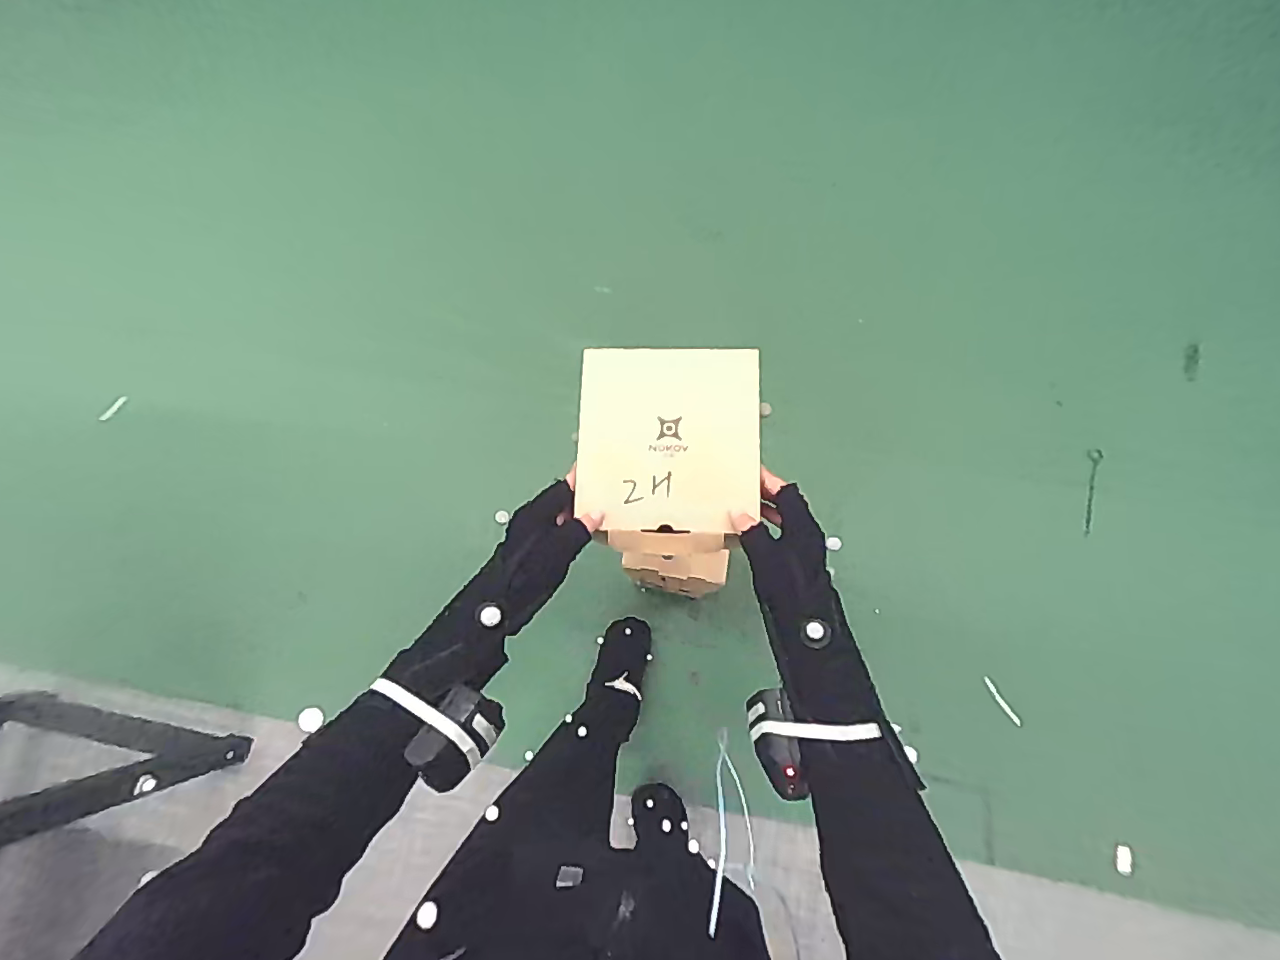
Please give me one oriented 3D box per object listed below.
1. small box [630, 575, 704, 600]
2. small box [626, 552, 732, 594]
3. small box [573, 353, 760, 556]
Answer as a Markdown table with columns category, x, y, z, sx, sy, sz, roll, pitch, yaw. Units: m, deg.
| category | x | y | z | sx | sy | sz | roll | pitch | yaw |
| --- | --- | --- | --- | --- | --- | --- | --- | --- | --- |
| small box | 0.080 | 0.179 | 1.260 | 0.168 | 0.176 | 0.179 | 12 | 76 | 5 |
| small box | 0.072 | 0.095 | 0.943 | 0.168 | 0.176 | 0.179 | 9 | 76 | 4 |
| small box | 0.030 | -0.016 | 0.564 | 0.168 | 0.176 | 0.179 | 1 | 79 | 4 |
